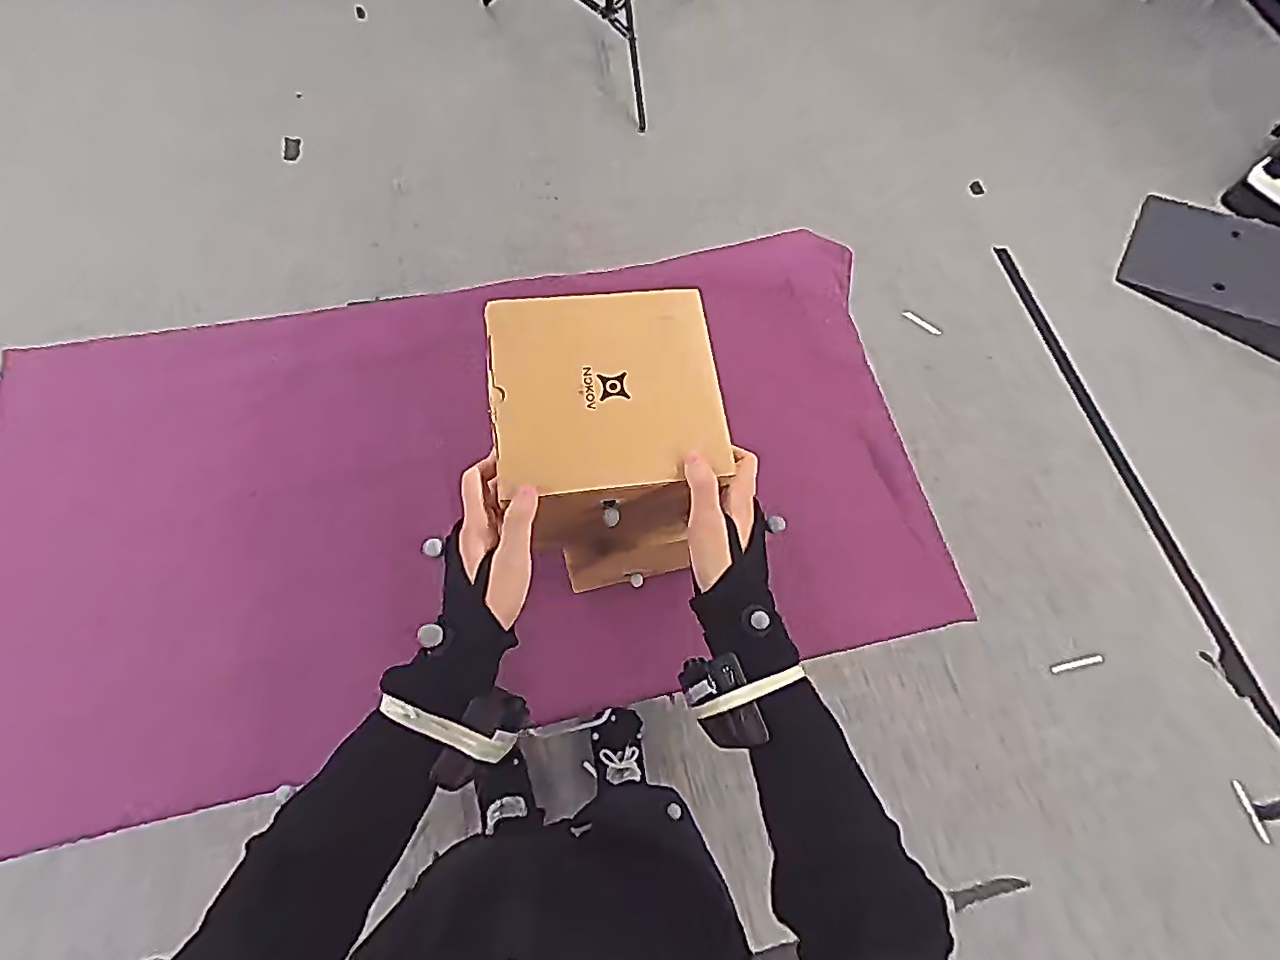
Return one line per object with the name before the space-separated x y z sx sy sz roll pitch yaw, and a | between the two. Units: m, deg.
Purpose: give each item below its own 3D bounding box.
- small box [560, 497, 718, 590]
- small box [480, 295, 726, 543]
small box | -0.021 0.021 0.655 0.168 0.176 0.179 -11 71 -8
small box | -0.039 -0.044 0.490 0.179 0.176 0.168 -6 74 -7
